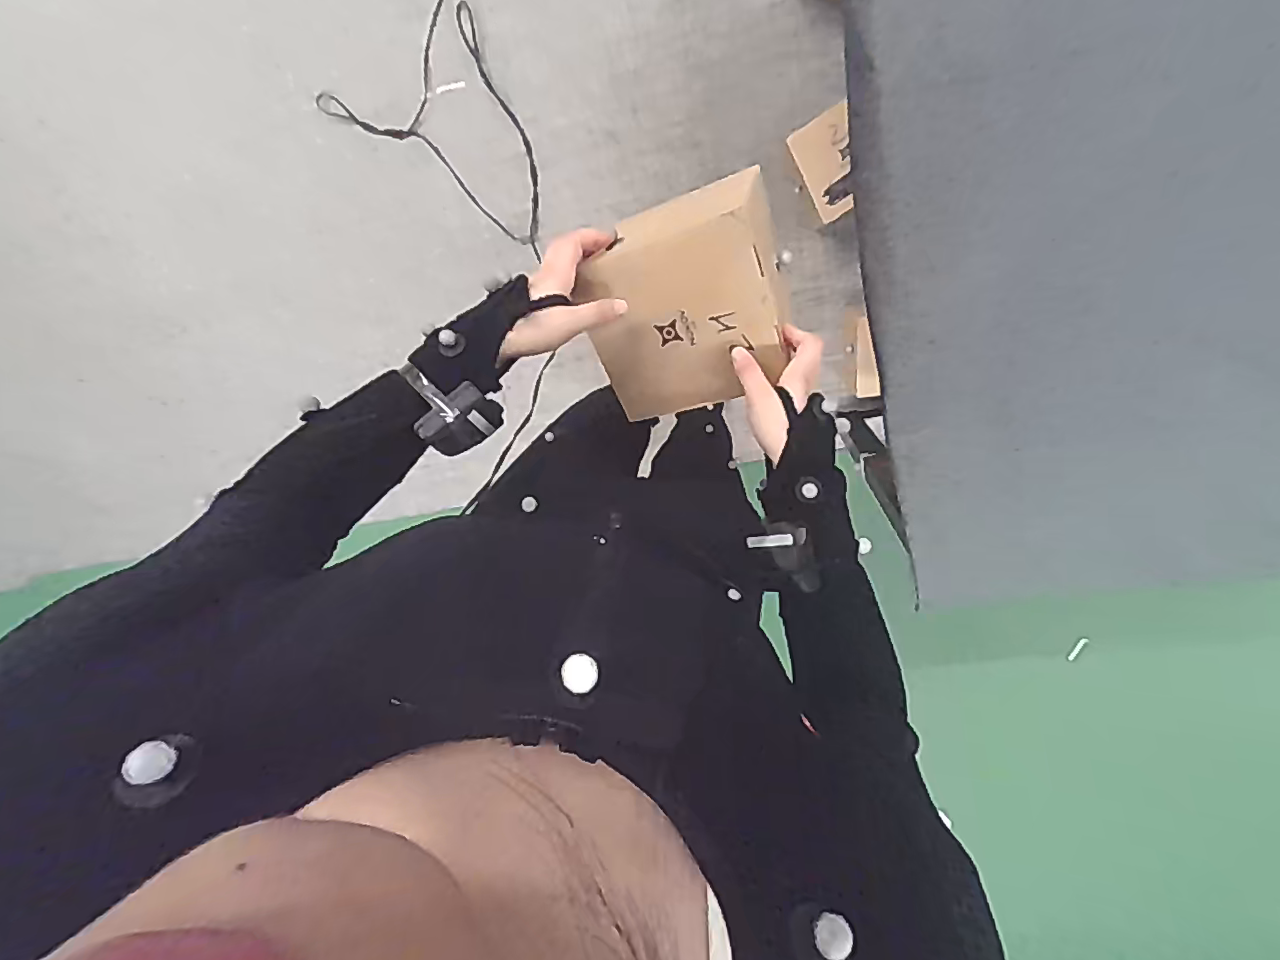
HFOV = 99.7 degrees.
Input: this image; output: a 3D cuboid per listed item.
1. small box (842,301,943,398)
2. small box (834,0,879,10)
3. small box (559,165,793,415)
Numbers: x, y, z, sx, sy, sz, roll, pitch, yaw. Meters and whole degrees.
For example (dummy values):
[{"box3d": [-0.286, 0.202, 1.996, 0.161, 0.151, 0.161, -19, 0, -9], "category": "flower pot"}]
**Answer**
[{"box3d": [0.540, -0.289, 1.178, 0.168, 0.176, 0.179, -4, 112, 12], "category": "small box"}, {"box3d": [0.379, -0.966, 0.936, 0.179, 0.176, 0.168, 21, 114, 1], "category": "small box"}, {"box3d": [0.051, -0.192, 0.551, 0.179, 0.176, 0.168, -11, 124, 24], "category": "small box"}]
